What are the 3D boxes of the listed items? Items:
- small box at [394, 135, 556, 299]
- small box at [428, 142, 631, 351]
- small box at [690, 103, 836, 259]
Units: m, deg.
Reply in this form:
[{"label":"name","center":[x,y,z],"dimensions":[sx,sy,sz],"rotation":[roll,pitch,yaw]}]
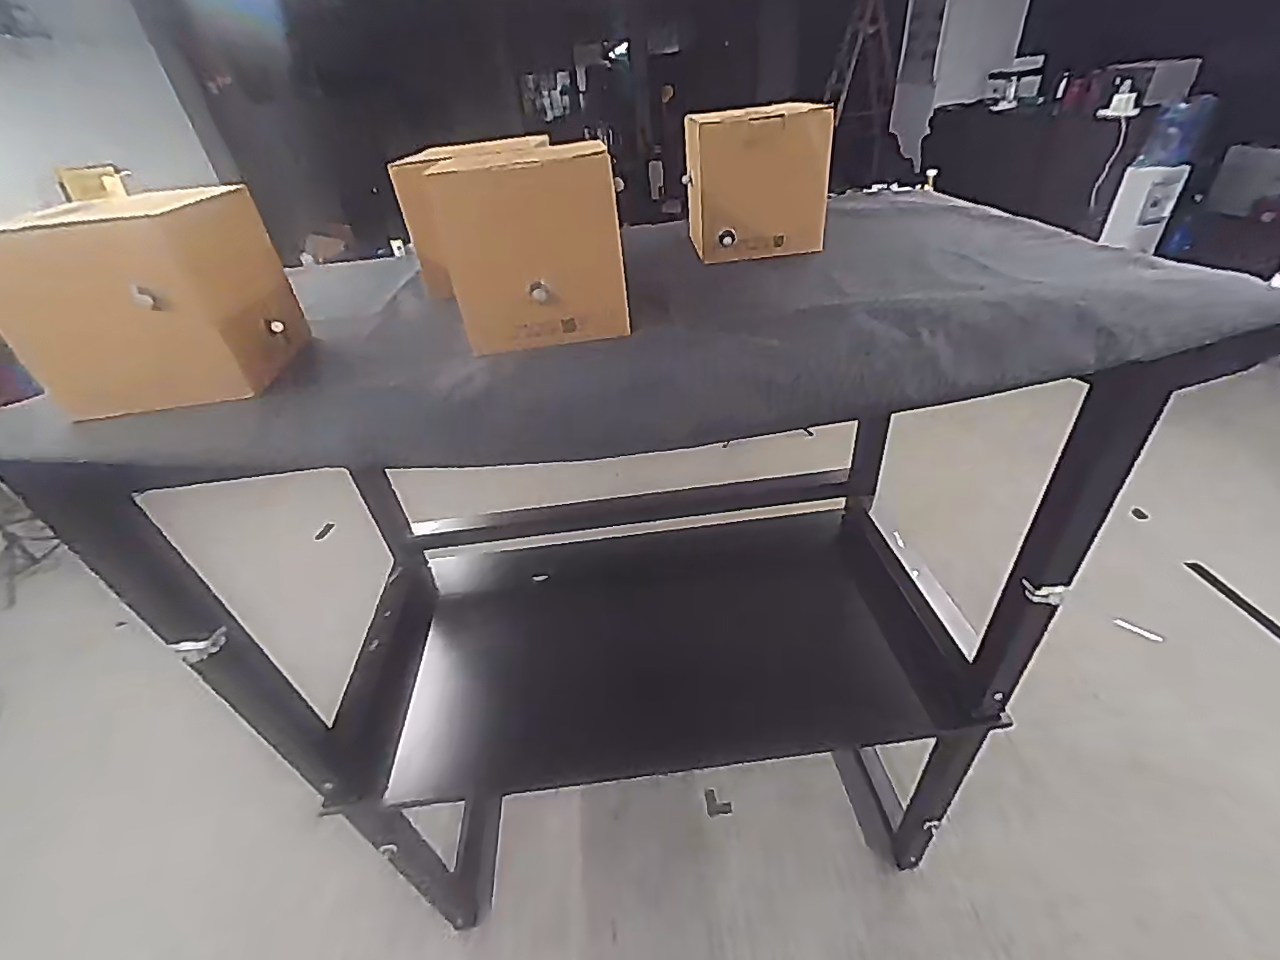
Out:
[{"label":"small box","center":[-0.199,-0.363,0.748],"dimensions":[0.179,0.176,0.168],"rotation":[-4,37,4]},{"label":"small box","center":[-0.103,-0.253,0.580],"dimensions":[0.168,0.176,0.179],"rotation":[-8,36,-1]},{"label":"small box","center":[0.164,-0.419,0.764],"dimensions":[0.168,0.176,0.179],"rotation":[-5,36,2]}]
